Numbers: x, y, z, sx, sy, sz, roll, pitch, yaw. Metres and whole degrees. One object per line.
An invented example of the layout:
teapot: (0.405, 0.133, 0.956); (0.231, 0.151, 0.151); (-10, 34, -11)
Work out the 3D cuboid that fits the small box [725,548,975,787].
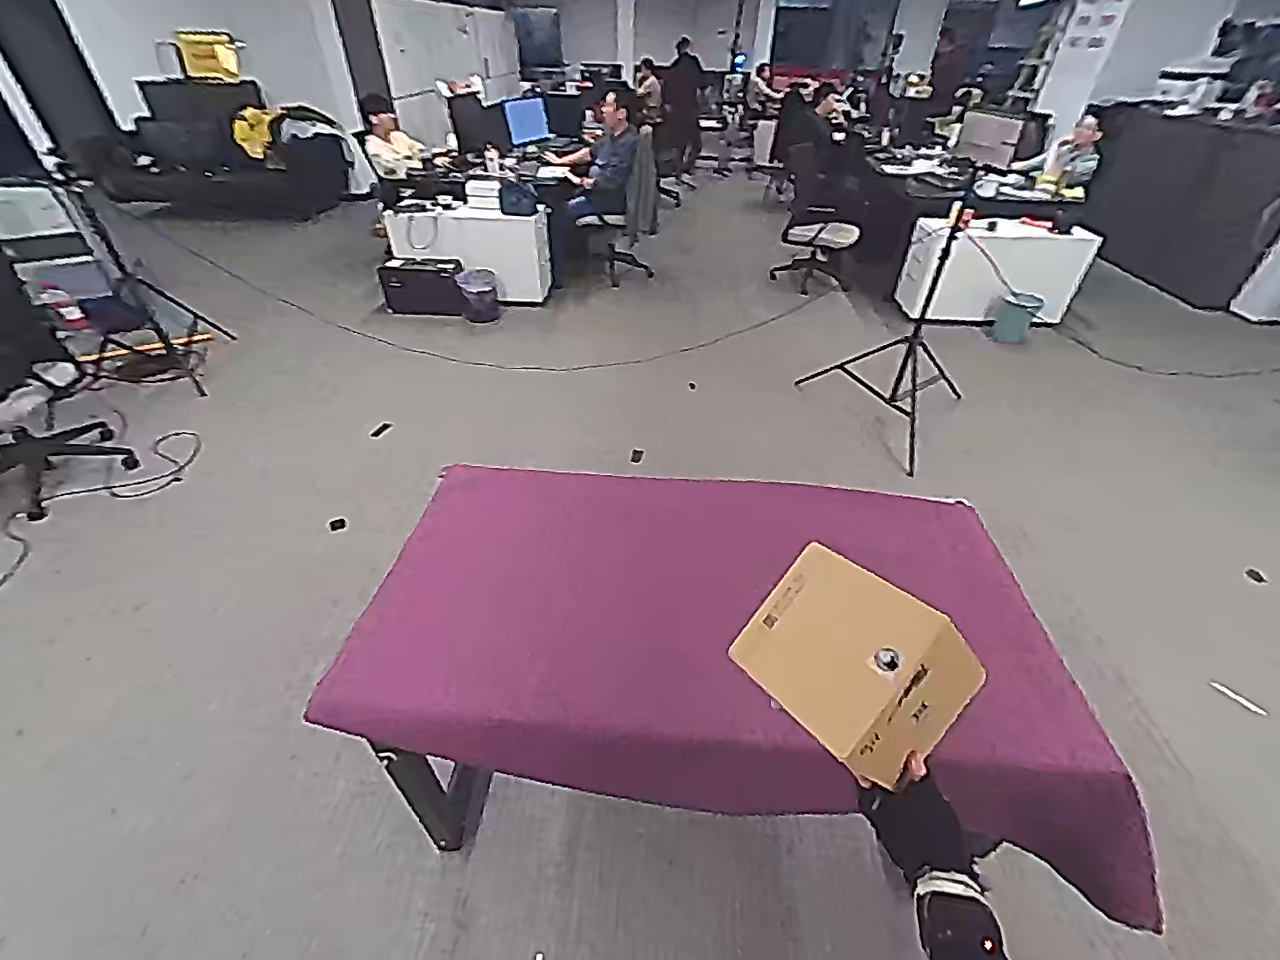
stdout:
small box: (0.233, 0.202, 0.610); (0.168, 0.179, 0.176); (-52, 37, -5)
